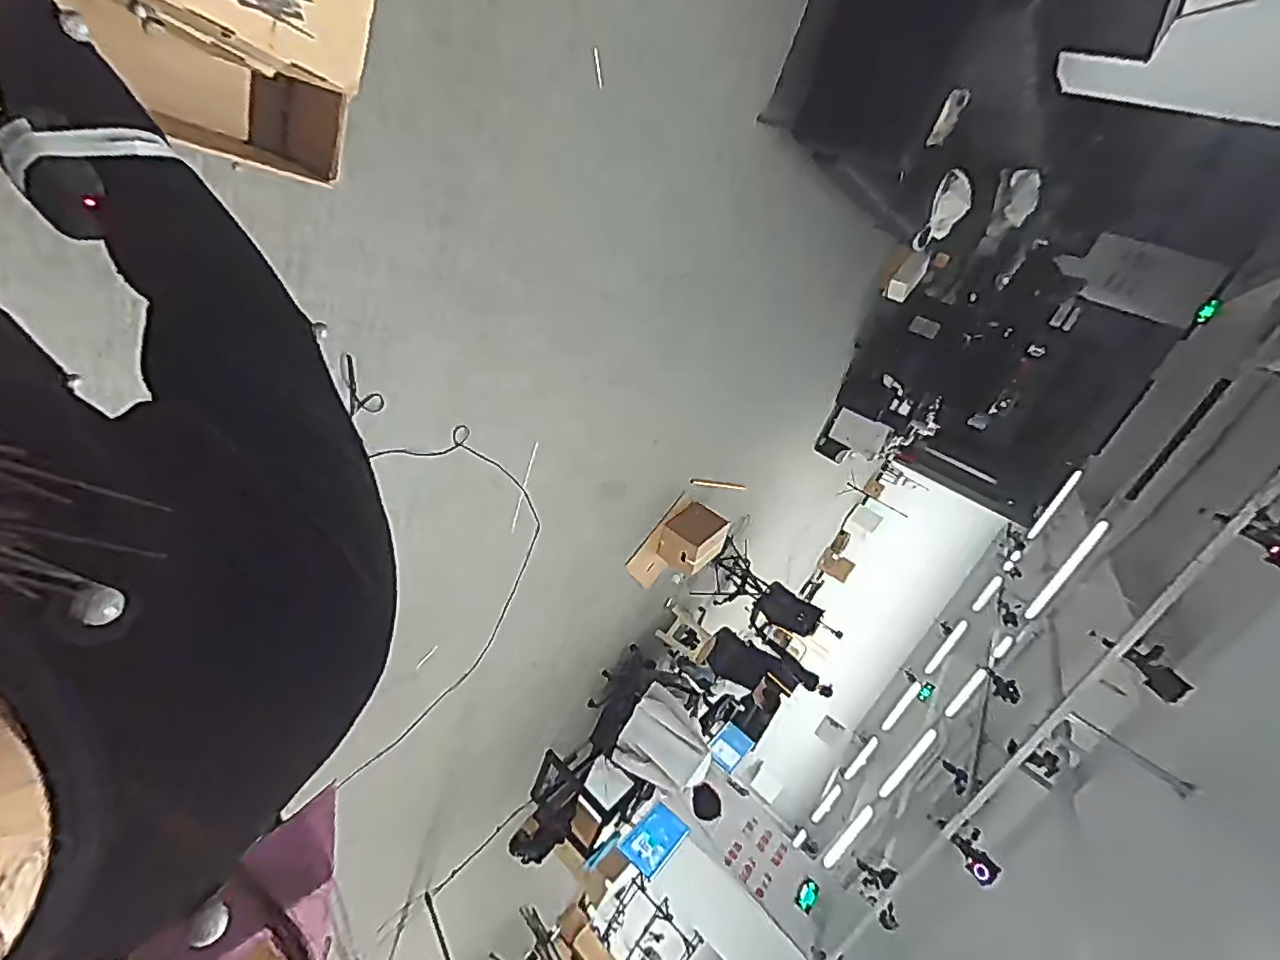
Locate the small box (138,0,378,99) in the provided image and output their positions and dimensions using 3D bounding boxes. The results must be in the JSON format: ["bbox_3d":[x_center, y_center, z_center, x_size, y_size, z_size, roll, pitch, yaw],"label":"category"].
[{"bbox_3d":[-0.356,-0.489,0.485,0.168,0.176,0.179,-9,127,-56],"label":"small box"}]

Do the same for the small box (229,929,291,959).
[{"bbox_3d":[-0.933,1.239,1.287,0.179,0.176,0.168,-17,135,-51],"label":"small box"}]
